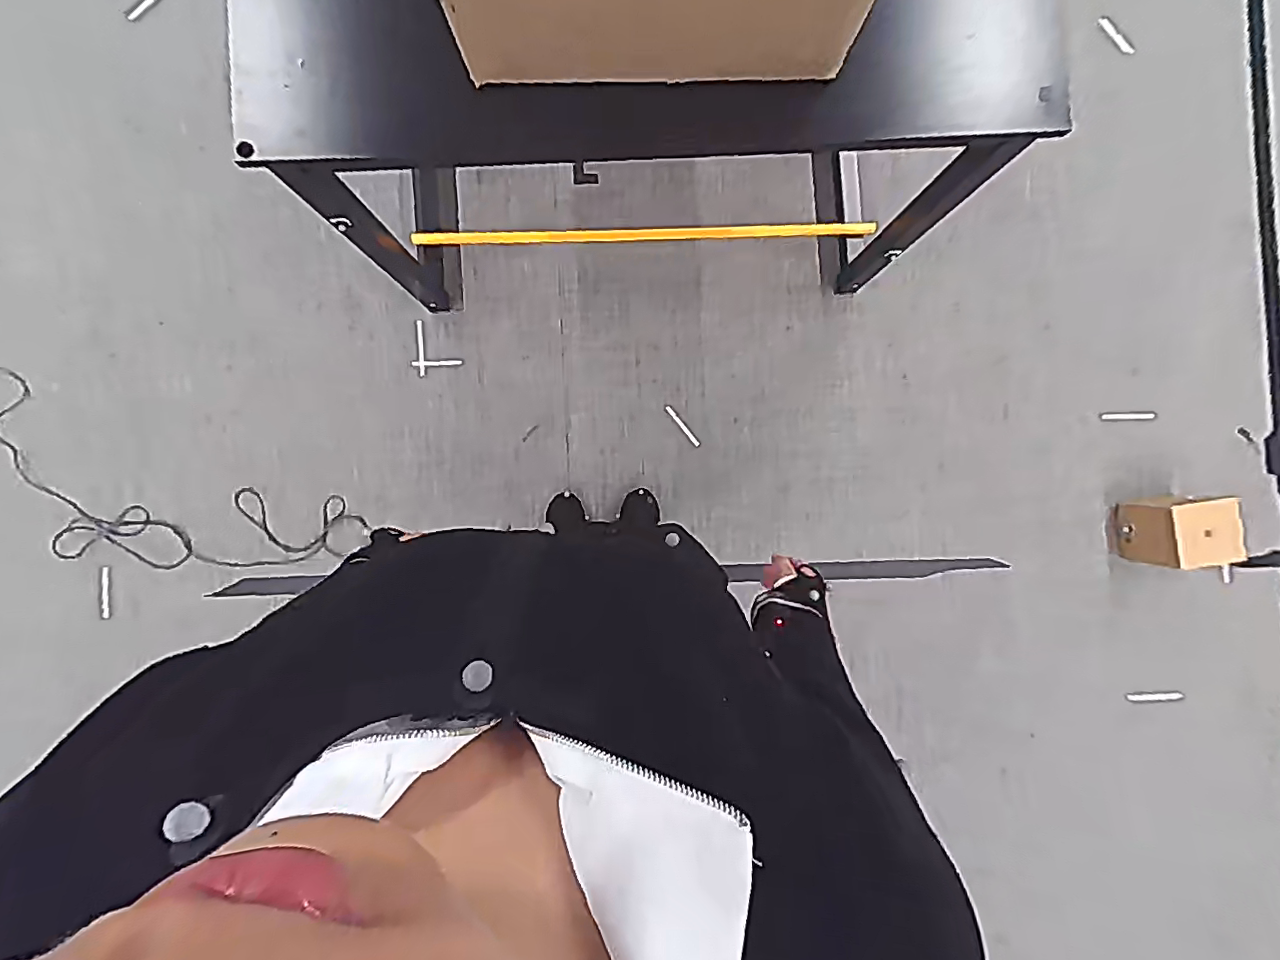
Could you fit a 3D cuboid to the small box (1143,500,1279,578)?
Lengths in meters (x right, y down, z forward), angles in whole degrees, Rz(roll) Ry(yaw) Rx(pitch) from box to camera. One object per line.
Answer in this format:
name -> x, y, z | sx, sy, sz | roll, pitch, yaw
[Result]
small box -> 1.461, 0.145, 1.388 | 0.179, 0.176, 0.168 | -9, 90, 0
